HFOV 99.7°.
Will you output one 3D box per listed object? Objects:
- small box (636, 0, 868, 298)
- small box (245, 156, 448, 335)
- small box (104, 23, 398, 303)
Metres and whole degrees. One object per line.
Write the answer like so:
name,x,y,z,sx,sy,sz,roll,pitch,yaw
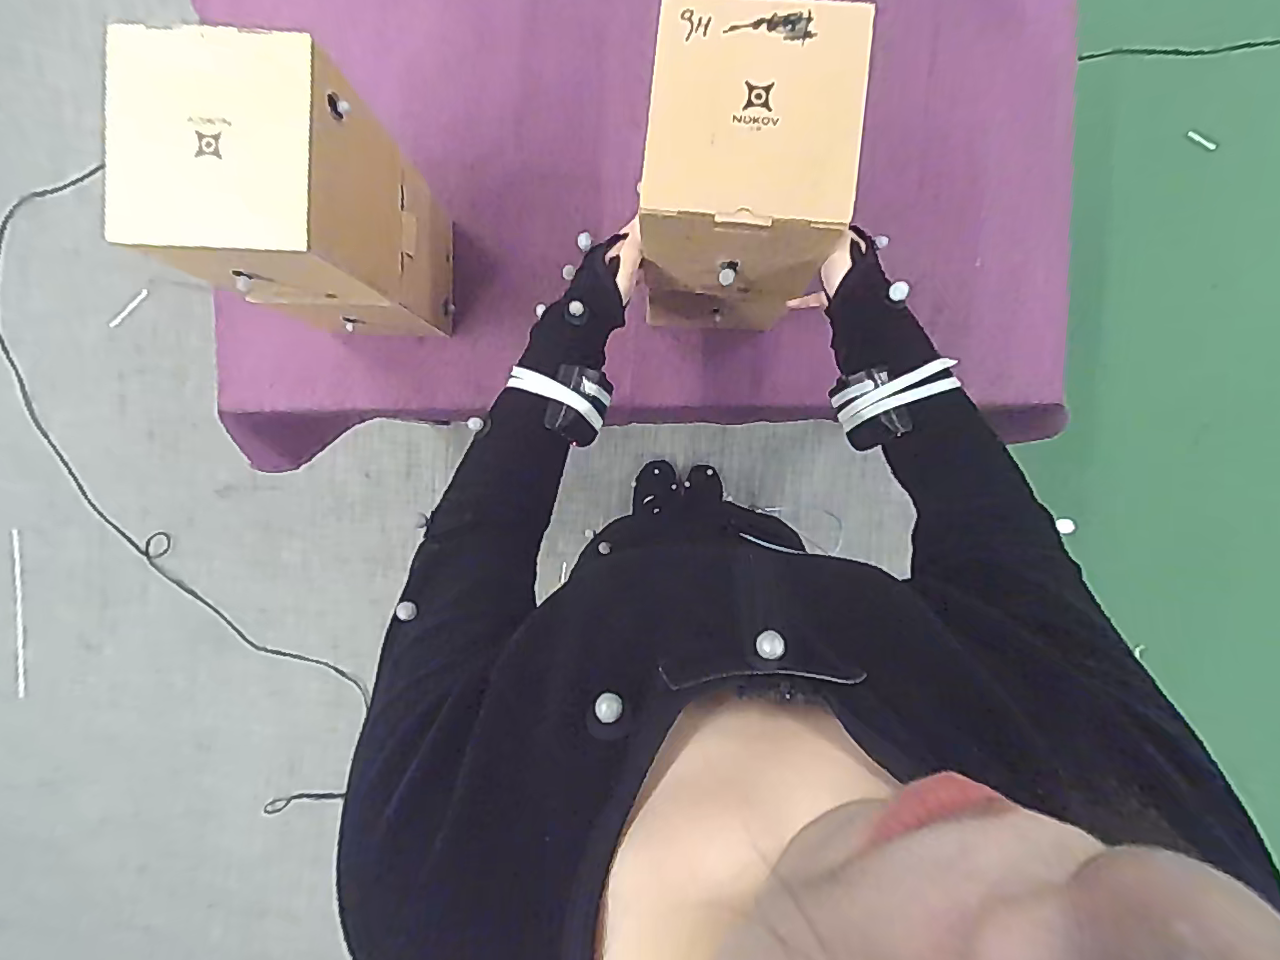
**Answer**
small box,0.091,-0.284,0.503,0.168,0.176,0.179,6,90,2
small box,-0.352,-0.283,0.678,0.179,0.176,0.168,1,92,0
small box,-0.348,-0.278,0.516,0.168,0.176,0.179,2,92,-1
